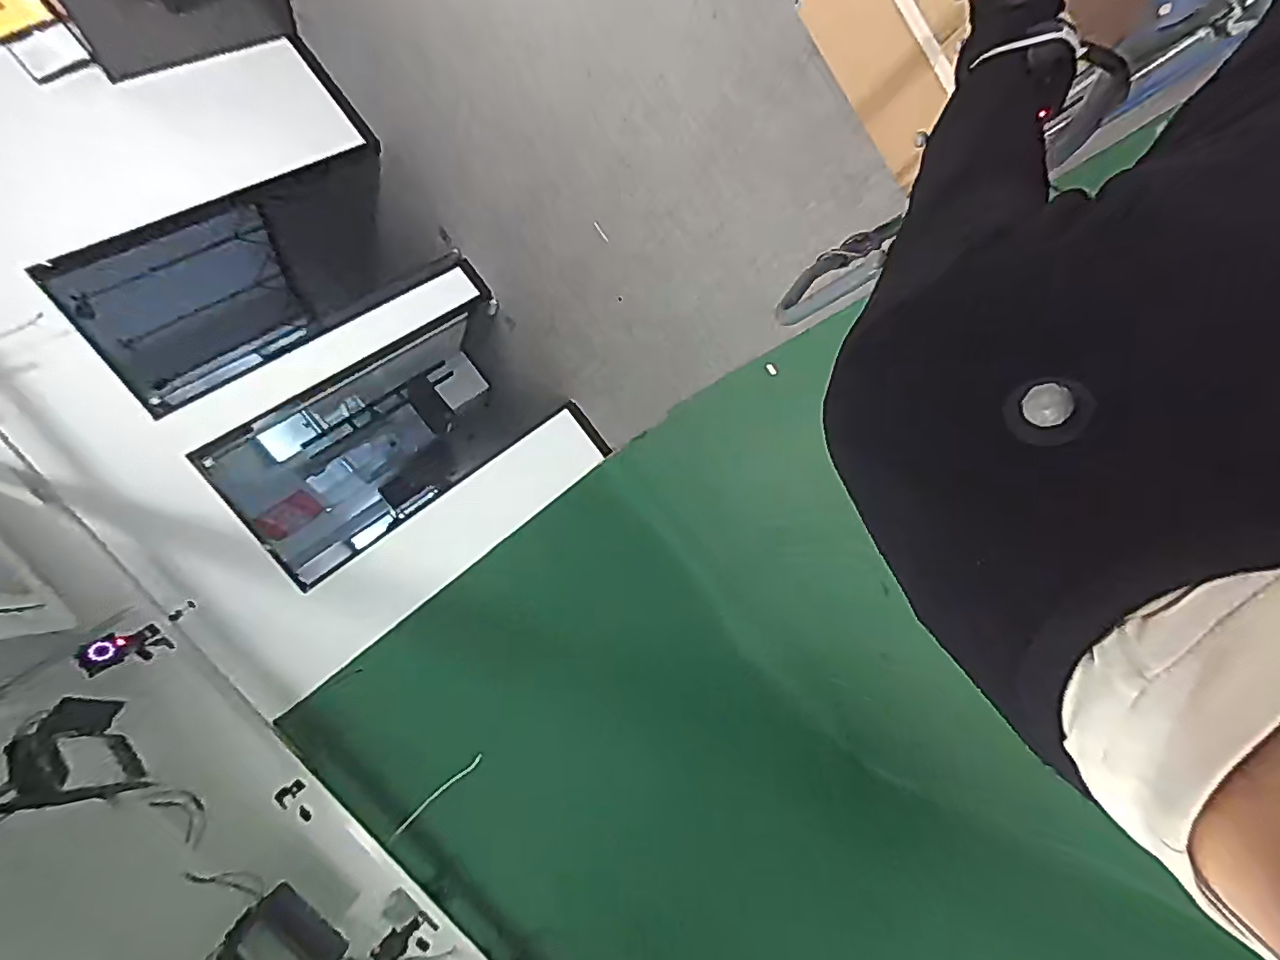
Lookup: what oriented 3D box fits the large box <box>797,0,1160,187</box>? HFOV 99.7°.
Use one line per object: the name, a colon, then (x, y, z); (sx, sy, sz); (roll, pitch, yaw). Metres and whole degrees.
large box: (0.564, -0.817, 0.925); (0.408, 0.320, 0.320); (54, 155, -7)
